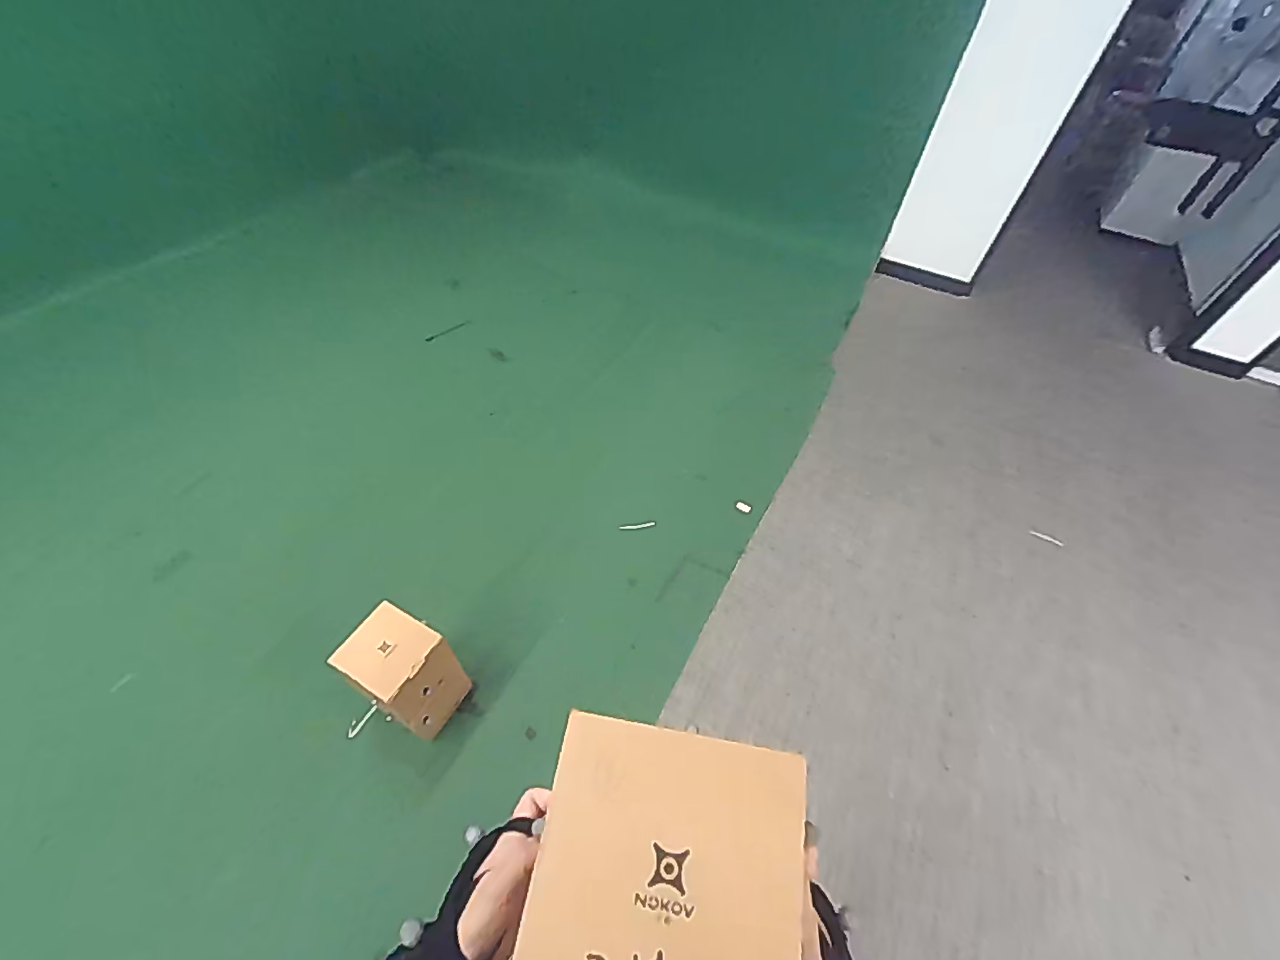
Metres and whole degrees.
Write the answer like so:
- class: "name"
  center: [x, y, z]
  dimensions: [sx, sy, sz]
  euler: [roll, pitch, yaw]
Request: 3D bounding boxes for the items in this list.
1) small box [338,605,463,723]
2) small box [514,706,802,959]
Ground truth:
- class: "small box"
  center: [-0.536, 0.424, 1.234]
  dimensions: [0.179, 0.176, 0.168]
  euler: [24, 54, 16]
- class: "small box"
  center: [0.020, 0.288, 0.407]
  dimensions: [0.168, 0.176, 0.179]
  euler: [7, 60, 9]
